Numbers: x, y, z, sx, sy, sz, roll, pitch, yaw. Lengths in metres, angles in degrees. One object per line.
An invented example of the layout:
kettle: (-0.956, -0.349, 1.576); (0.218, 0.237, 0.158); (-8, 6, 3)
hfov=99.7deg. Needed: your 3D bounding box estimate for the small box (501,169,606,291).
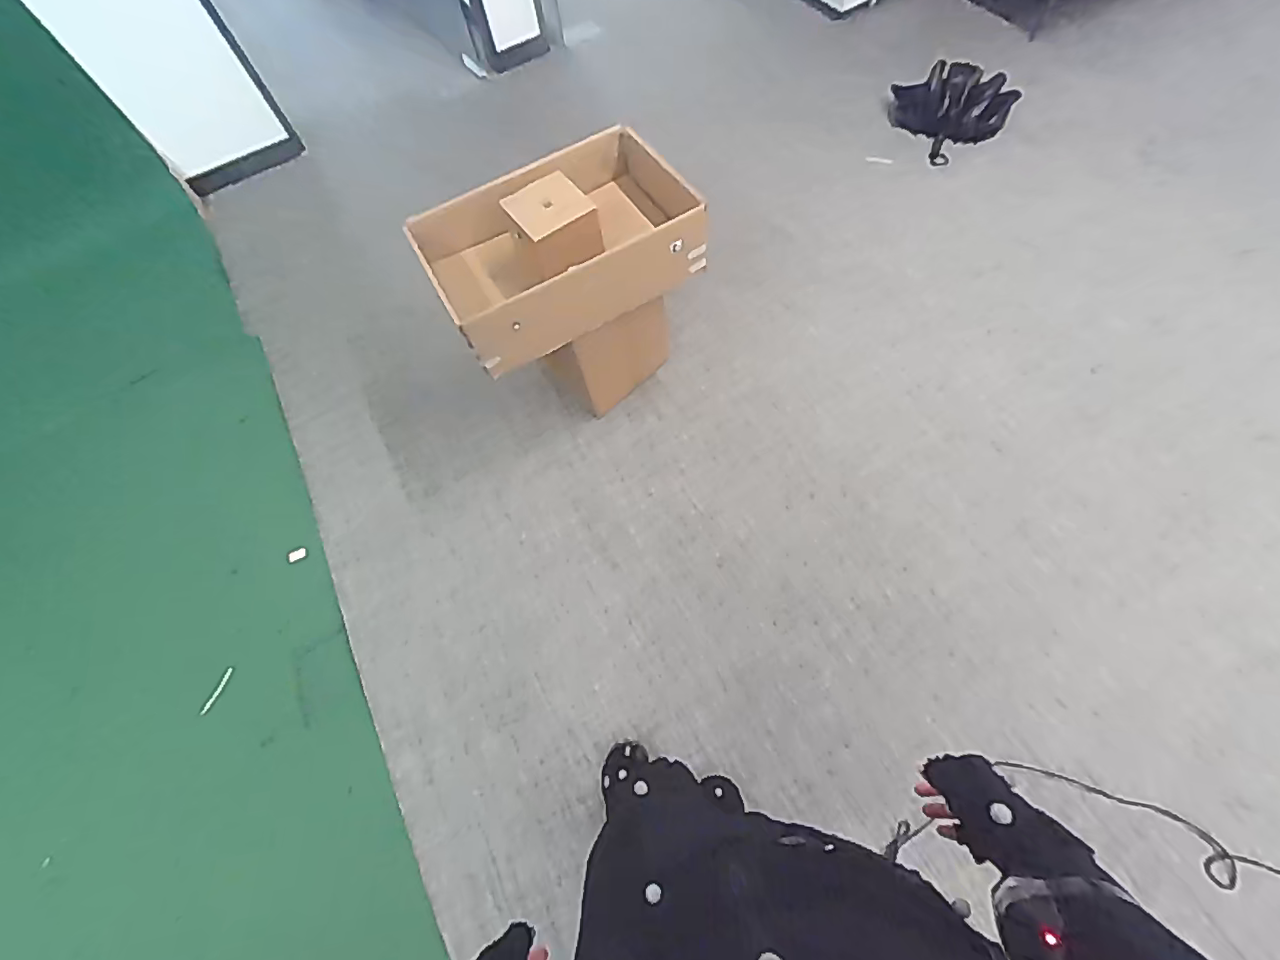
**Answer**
small box: (-0.199, -0.591, 1.289); (0.168, 0.176, 0.179); (-33, 66, -9)
